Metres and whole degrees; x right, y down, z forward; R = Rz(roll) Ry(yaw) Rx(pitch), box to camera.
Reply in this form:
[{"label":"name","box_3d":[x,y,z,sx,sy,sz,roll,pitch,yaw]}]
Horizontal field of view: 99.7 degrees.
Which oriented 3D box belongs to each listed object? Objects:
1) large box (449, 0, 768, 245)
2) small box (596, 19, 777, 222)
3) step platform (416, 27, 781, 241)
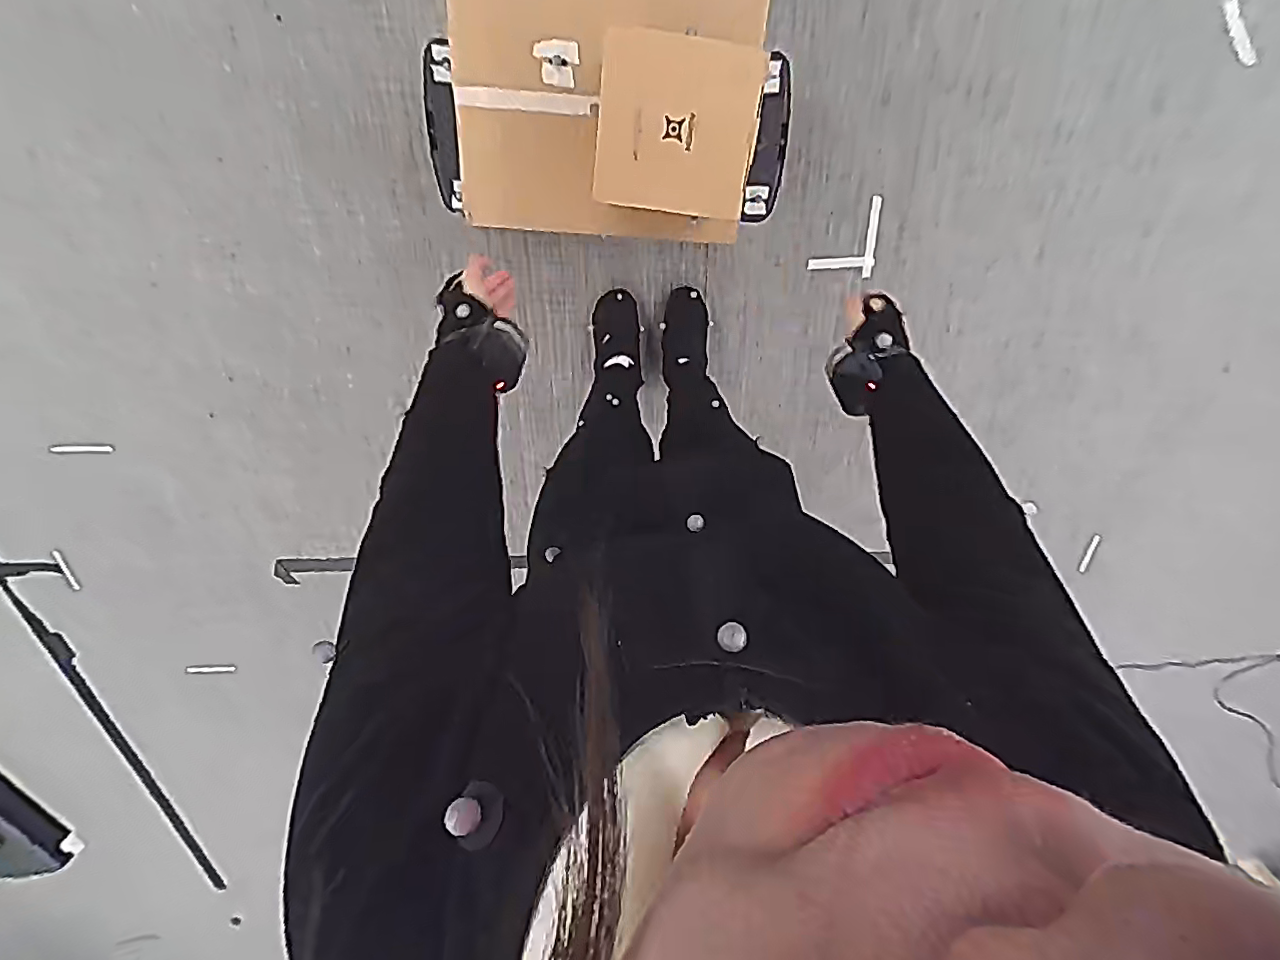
[{"label":"large box","box_3d":[-0.045,-0.561,0.855,0.408,0.320,0.320,2,117,-3]},{"label":"small box","box_3d":[0.043,-0.420,0.655,0.179,0.176,0.168,6,118,-5]},{"label":"step platform","box_3d":[-0.075,-0.661,1.070,0.684,0.204,0.286,5,117,-4]}]
